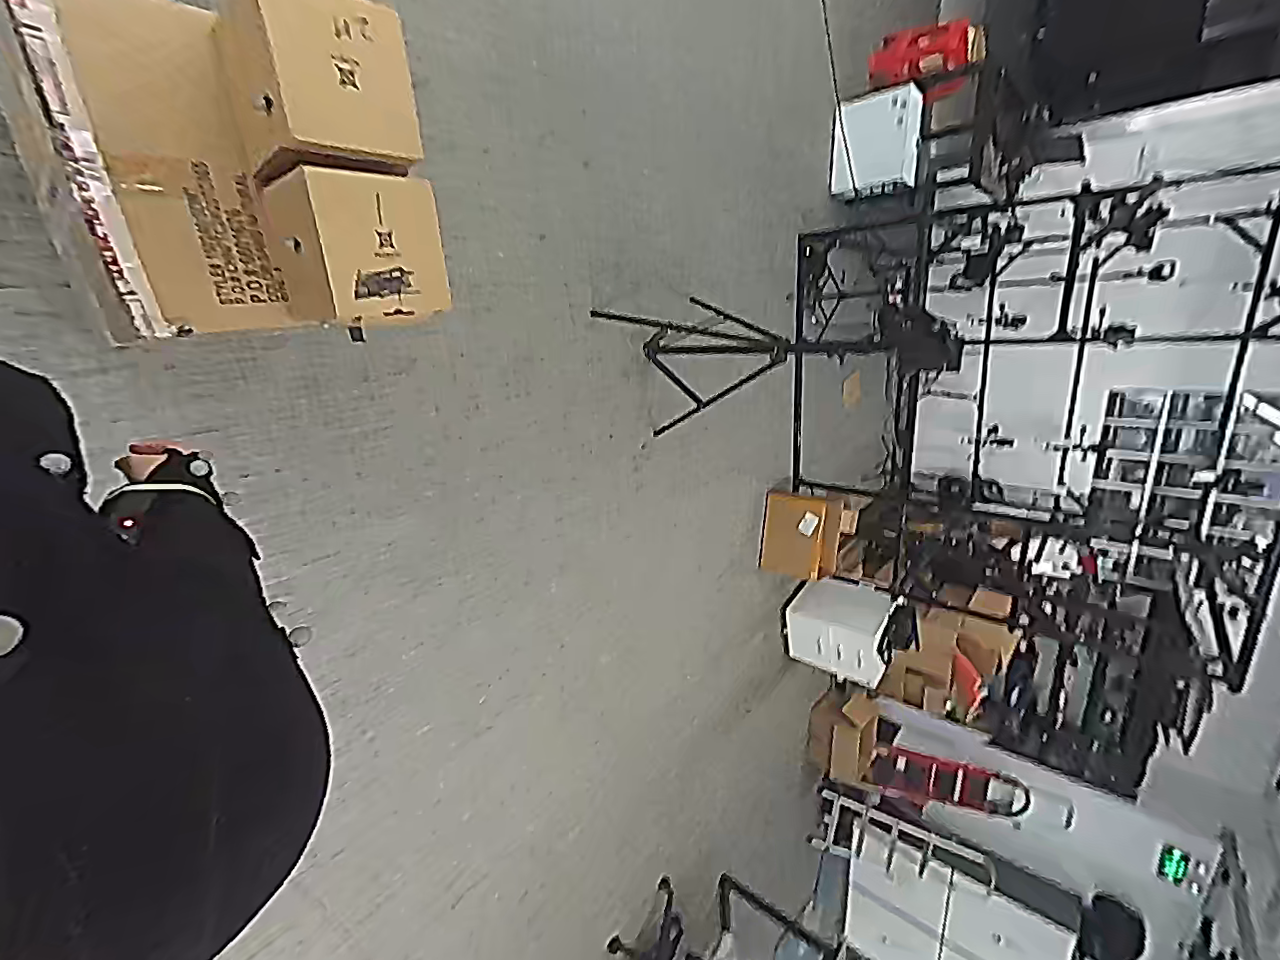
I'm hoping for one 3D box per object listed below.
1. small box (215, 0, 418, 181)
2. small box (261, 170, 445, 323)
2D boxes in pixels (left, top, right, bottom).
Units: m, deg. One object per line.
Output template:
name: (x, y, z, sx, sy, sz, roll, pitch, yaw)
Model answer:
small box: (-0.423, -0.499, 0.713, 0.168, 0.176, 0.179, -21, 112, -46)
small box: (-0.407, -0.319, 0.773, 0.168, 0.176, 0.179, -22, 115, -45)
